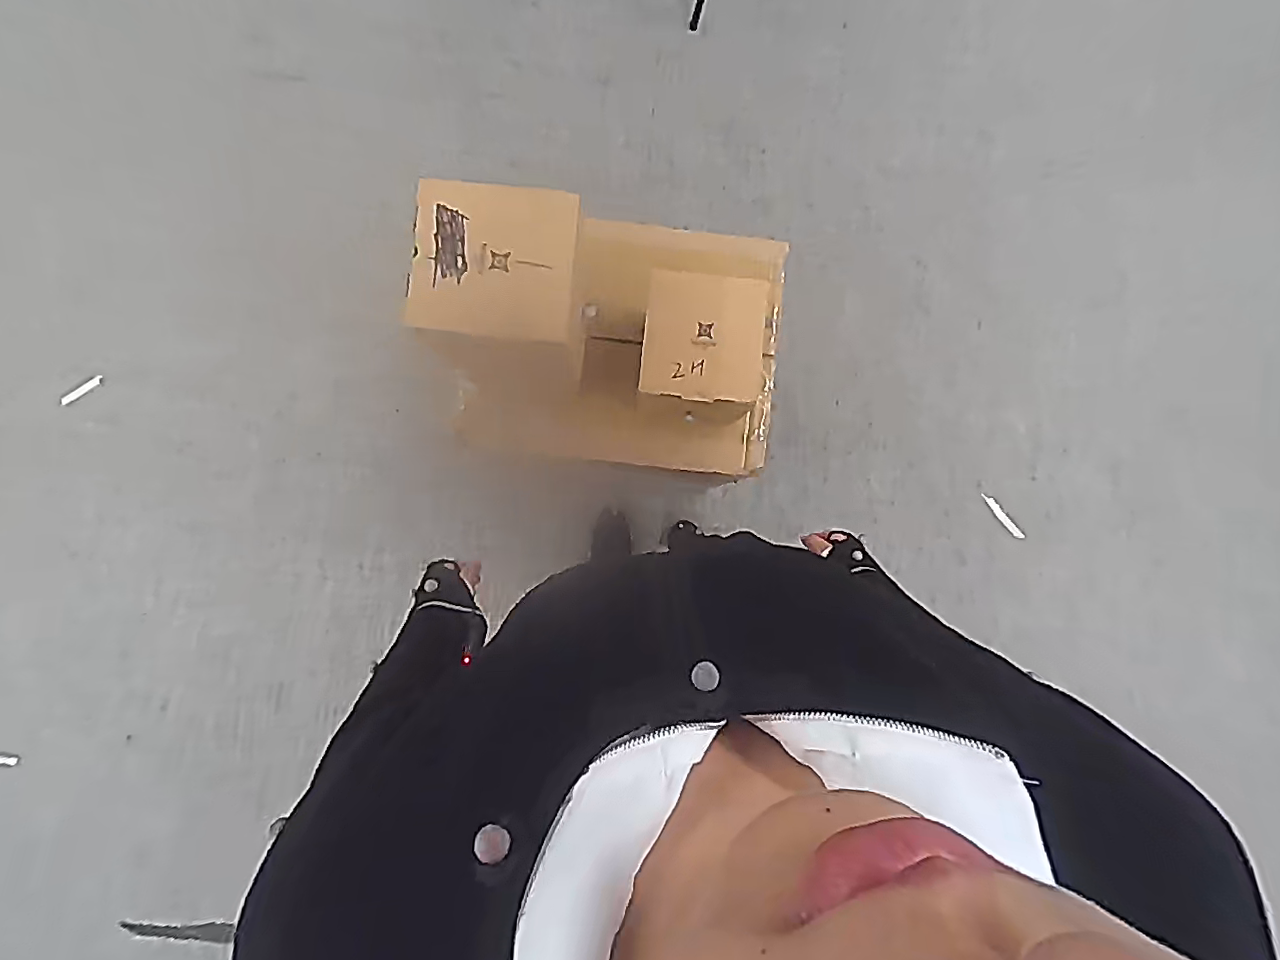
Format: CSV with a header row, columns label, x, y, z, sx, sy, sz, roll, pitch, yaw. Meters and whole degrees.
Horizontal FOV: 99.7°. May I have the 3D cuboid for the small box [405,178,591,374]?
label,x,y,z,sx,sy,sz,roll,pitch,yaw
small box,-0.159,-0.234,0.662,0.179,0.176,0.168,6,87,-1

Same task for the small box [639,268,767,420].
label,x,y,z,sx,sy,sz,roll,pitch,yaw
small box,0.088,-0.197,0.825,0.168,0.176,0.179,6,88,1
